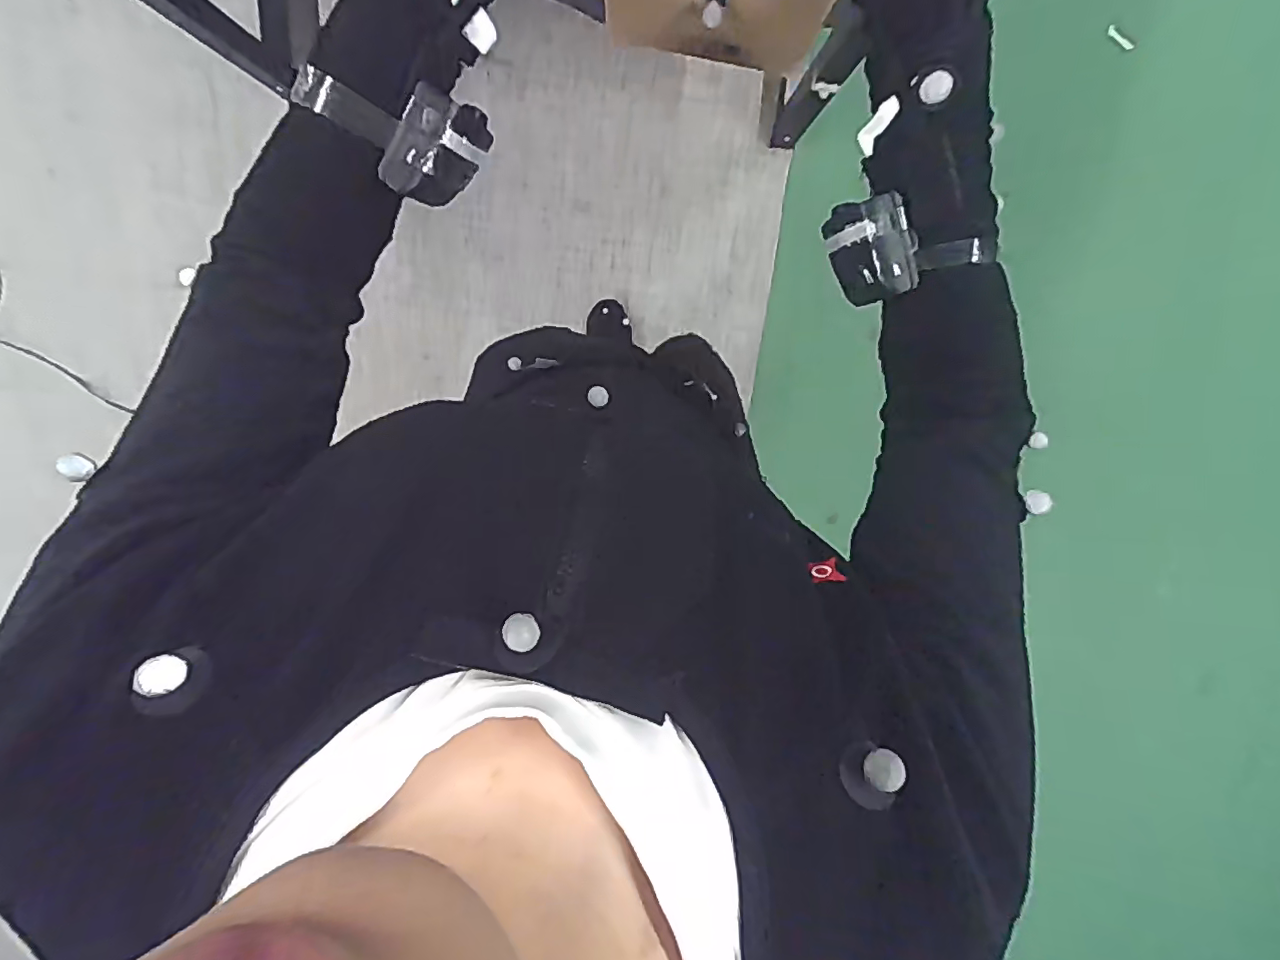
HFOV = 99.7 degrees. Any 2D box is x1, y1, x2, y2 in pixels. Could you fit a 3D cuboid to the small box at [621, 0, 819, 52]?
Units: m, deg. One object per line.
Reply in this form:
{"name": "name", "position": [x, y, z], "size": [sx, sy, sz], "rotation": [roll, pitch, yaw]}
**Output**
{"name": "small box", "position": [0.068, -0.437, 0.363], "size": [0.168, 0.176, 0.179], "rotation": [9, 102, -3]}
